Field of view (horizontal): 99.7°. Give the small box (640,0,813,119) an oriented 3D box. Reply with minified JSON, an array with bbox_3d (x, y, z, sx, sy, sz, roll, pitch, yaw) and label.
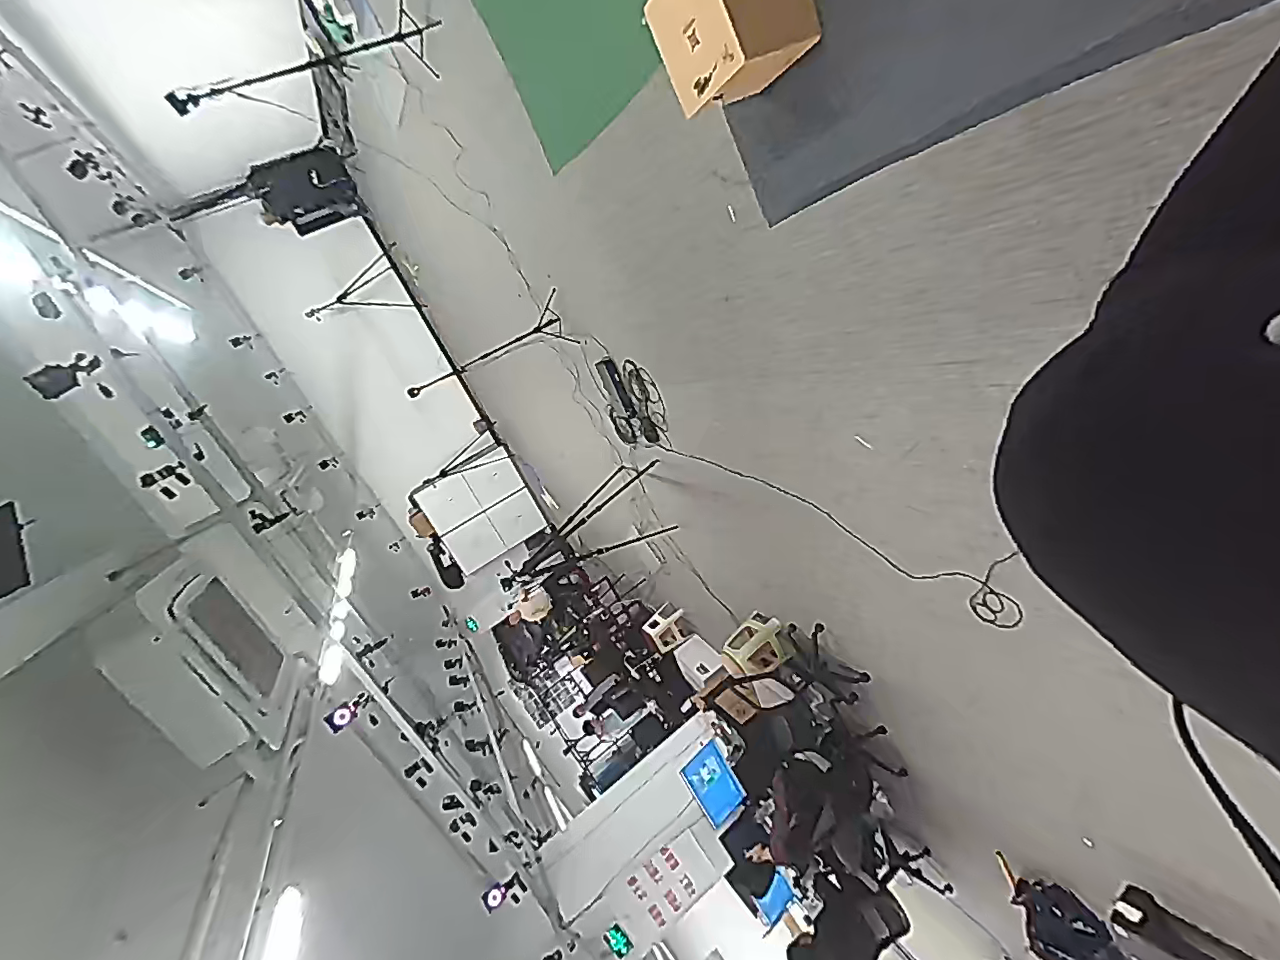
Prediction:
[{"bbox_3d":[0.135,-0.715,0.844,0.179,0.176,0.168,63,160,-17],"label":"small box"}]
